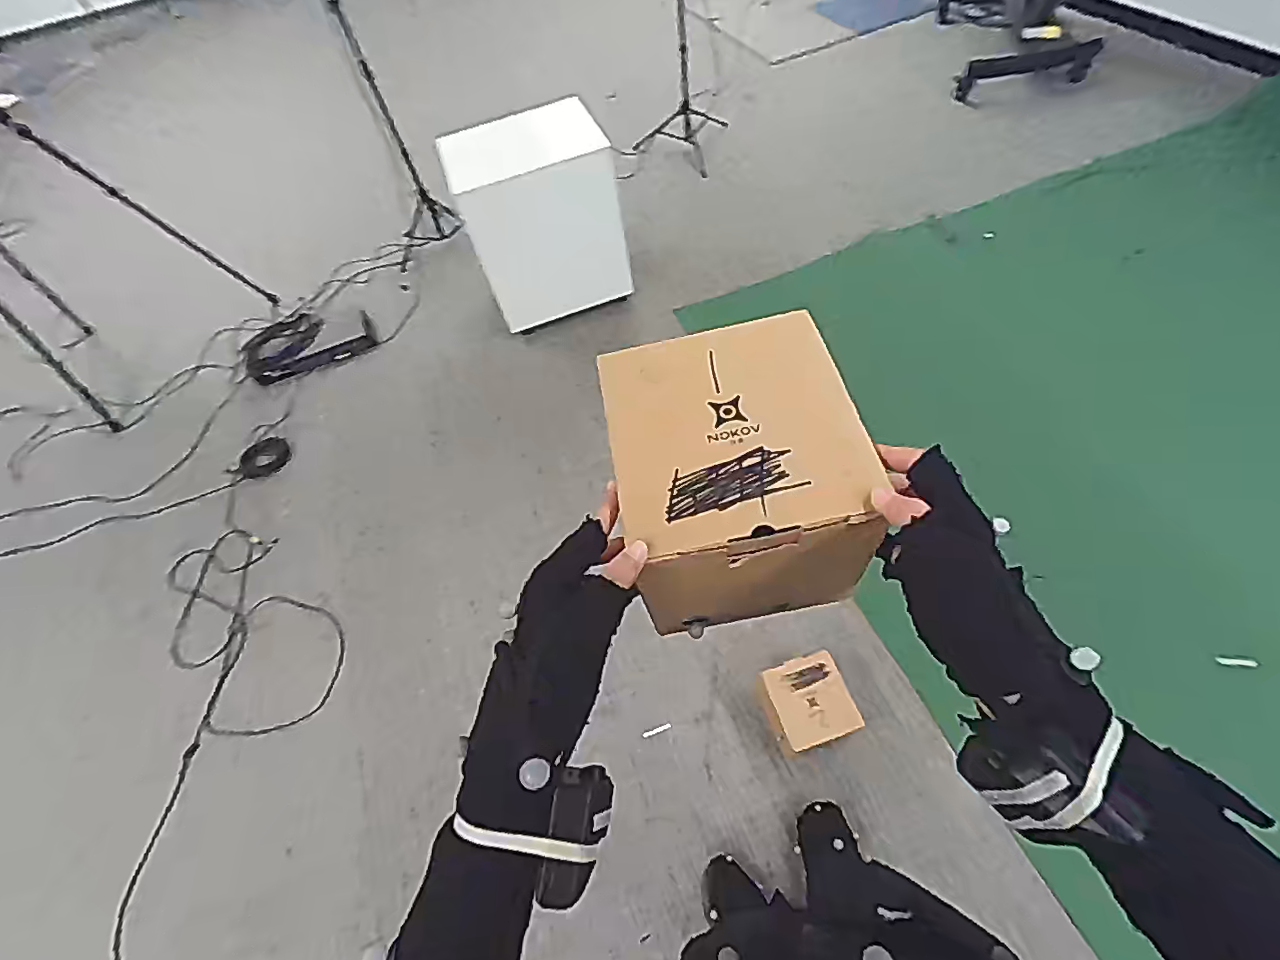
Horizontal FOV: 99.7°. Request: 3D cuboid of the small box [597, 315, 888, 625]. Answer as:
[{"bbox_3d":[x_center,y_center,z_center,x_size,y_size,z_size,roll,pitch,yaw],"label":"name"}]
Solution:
[{"bbox_3d":[0.070,0.005,0.432,0.168,0.176,0.179,-11,56,3],"label":"small box"}]
